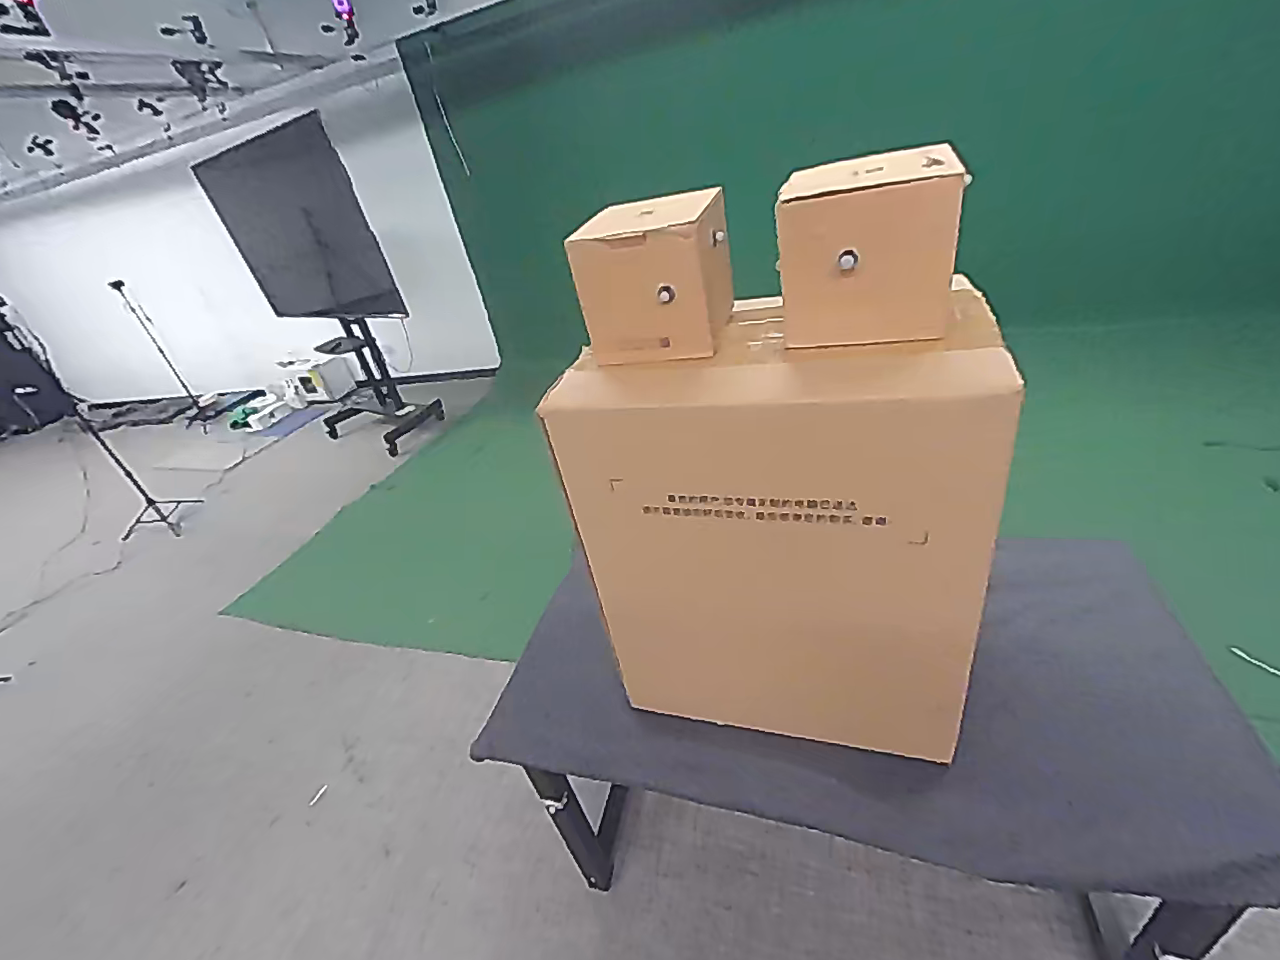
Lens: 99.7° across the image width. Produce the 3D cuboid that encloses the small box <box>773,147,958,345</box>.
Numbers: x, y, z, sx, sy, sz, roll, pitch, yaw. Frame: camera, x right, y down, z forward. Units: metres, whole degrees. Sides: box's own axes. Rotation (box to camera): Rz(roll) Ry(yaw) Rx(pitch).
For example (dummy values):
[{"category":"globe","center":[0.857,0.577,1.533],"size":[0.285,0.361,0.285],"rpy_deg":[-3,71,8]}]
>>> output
[{"category":"small box","center":[0.264,-0.270,0.642],"size":[0.179,0.176,0.168],"rpy_deg":[1,38,23]}]

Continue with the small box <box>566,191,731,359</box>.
[{"category":"small box","center":[0.025,-0.272,0.736],"size":[0.168,0.176,0.179],"rpy_deg":[2,37,20]}]
